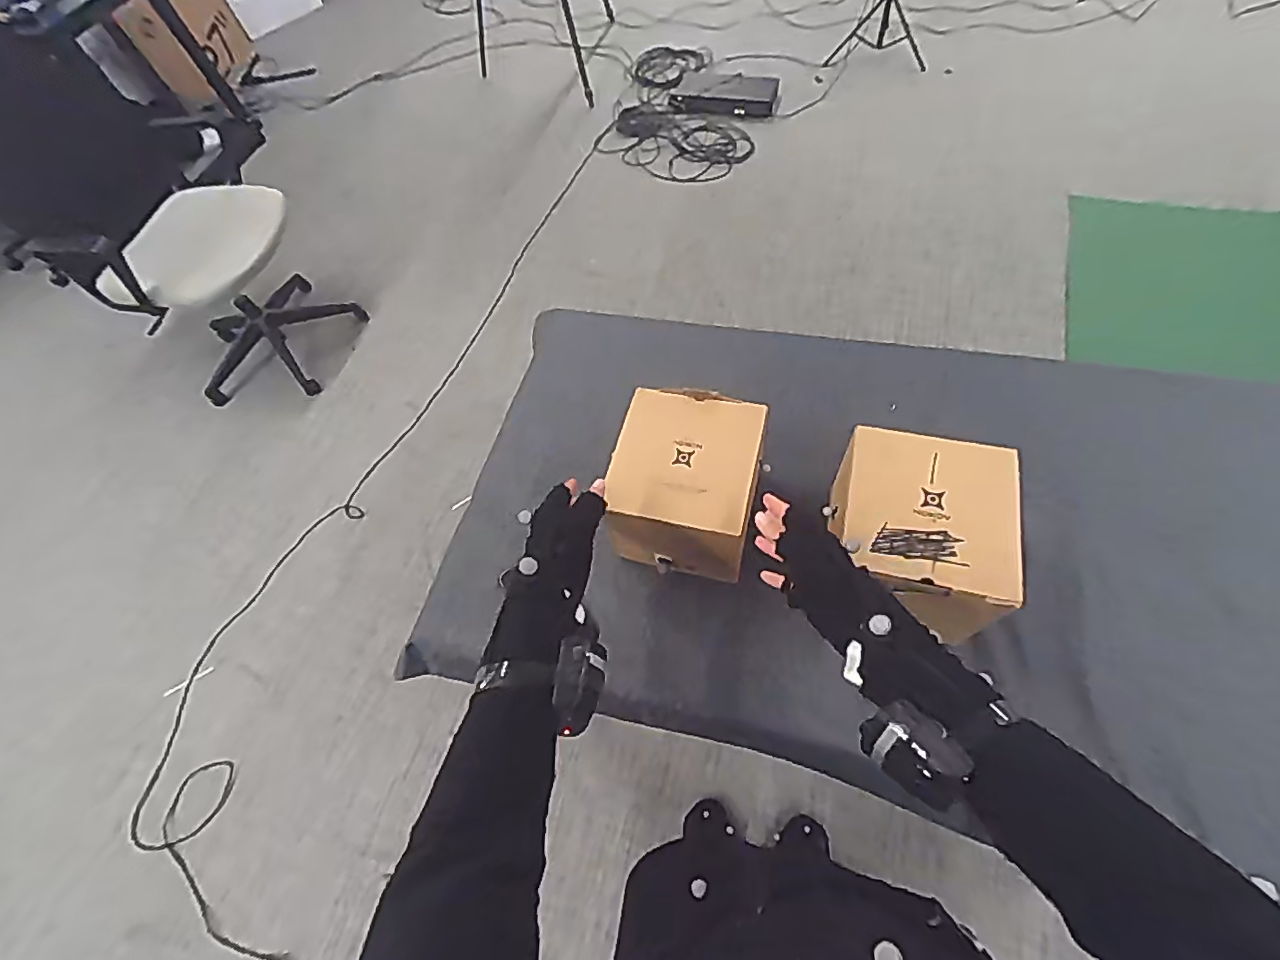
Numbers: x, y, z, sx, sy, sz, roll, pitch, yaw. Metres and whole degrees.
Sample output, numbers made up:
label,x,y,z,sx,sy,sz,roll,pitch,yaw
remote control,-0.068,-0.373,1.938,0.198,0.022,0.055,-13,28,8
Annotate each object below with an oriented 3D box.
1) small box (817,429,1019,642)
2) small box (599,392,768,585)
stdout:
label,x,y,z,sx,sy,sz,roll,pitch,yaw
small box,0.307,0.070,0.624,0.168,0.176,0.179,11,62,14
small box,0.063,0.015,0.693,0.168,0.176,0.179,10,64,14
